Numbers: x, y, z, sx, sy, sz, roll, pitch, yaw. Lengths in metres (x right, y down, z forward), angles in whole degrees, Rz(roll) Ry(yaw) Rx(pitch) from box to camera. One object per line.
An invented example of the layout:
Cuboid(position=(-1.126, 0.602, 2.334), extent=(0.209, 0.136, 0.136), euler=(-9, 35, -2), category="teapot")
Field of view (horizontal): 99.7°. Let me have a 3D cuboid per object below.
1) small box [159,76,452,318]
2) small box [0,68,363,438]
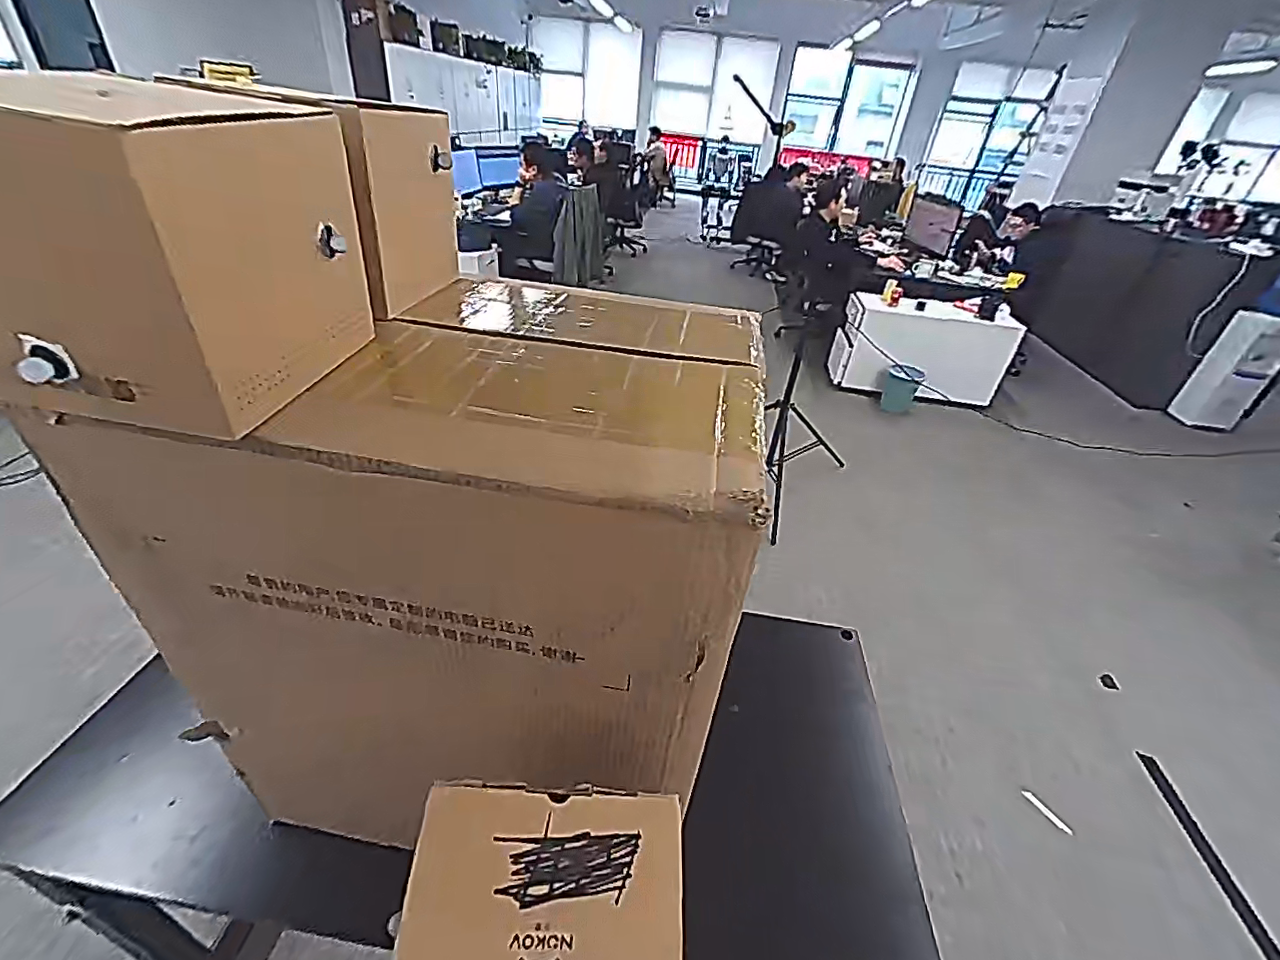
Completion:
Cuboid(position=(-0.296, -0.273, 0.529), extent=(0.168, 0.176, 0.179), euler=(8, 33, 2), category="small box")
Cuboid(position=(-0.306, -0.150, 0.353), extent=(0.168, 0.176, 0.179), euler=(8, 37, 0), category="small box")
